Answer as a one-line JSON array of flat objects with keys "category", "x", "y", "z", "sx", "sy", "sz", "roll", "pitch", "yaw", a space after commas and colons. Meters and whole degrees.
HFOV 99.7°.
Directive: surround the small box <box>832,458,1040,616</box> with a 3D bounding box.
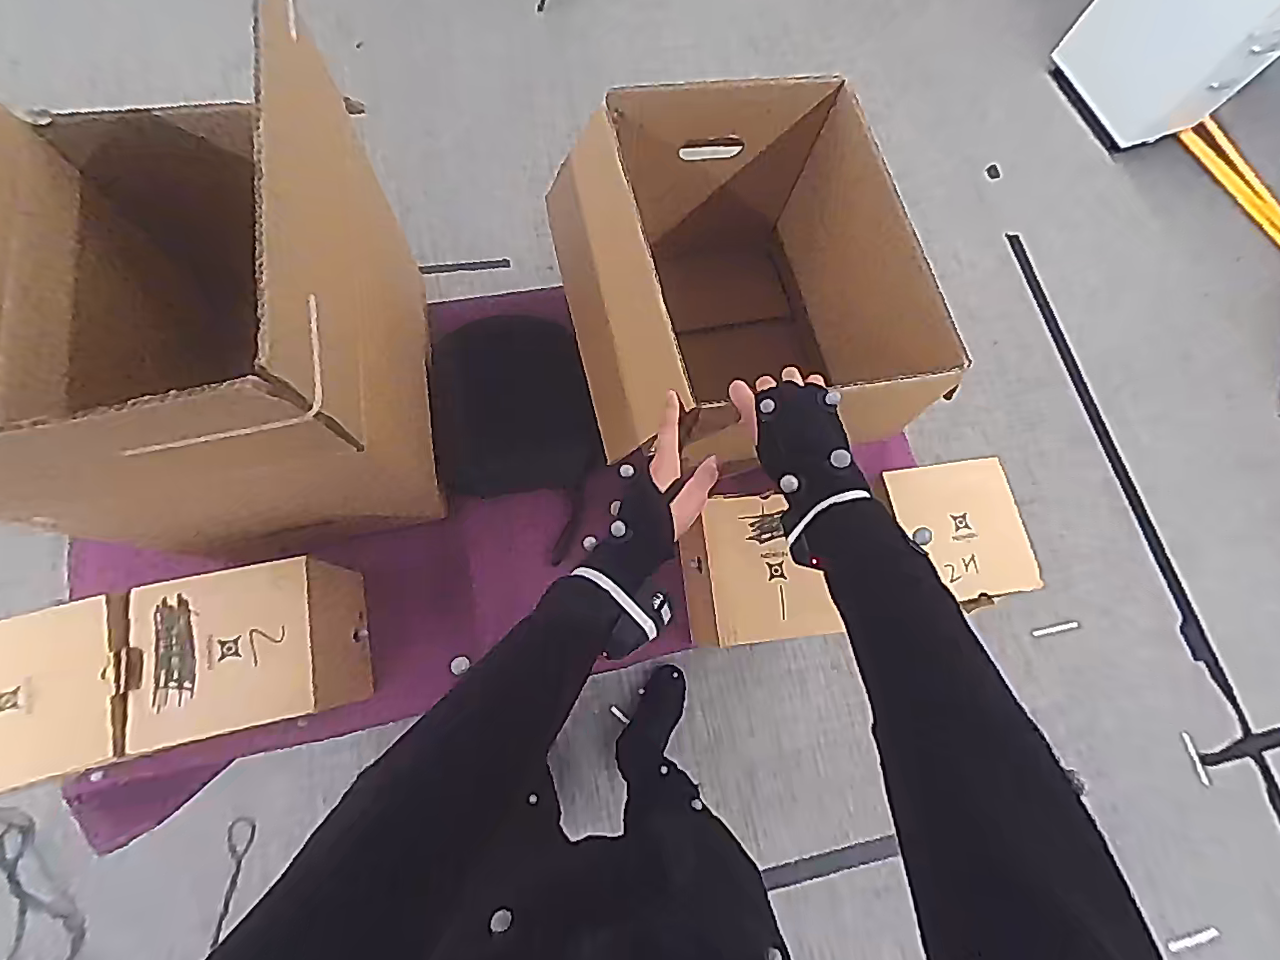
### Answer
[{"category": "small box", "x": 0.389, "y": 0.086, "z": 0.749, "sx": 0.168, "sy": 0.176, "sz": 0.179, "roll": -8, "pitch": 74, "yaw": -6}]
